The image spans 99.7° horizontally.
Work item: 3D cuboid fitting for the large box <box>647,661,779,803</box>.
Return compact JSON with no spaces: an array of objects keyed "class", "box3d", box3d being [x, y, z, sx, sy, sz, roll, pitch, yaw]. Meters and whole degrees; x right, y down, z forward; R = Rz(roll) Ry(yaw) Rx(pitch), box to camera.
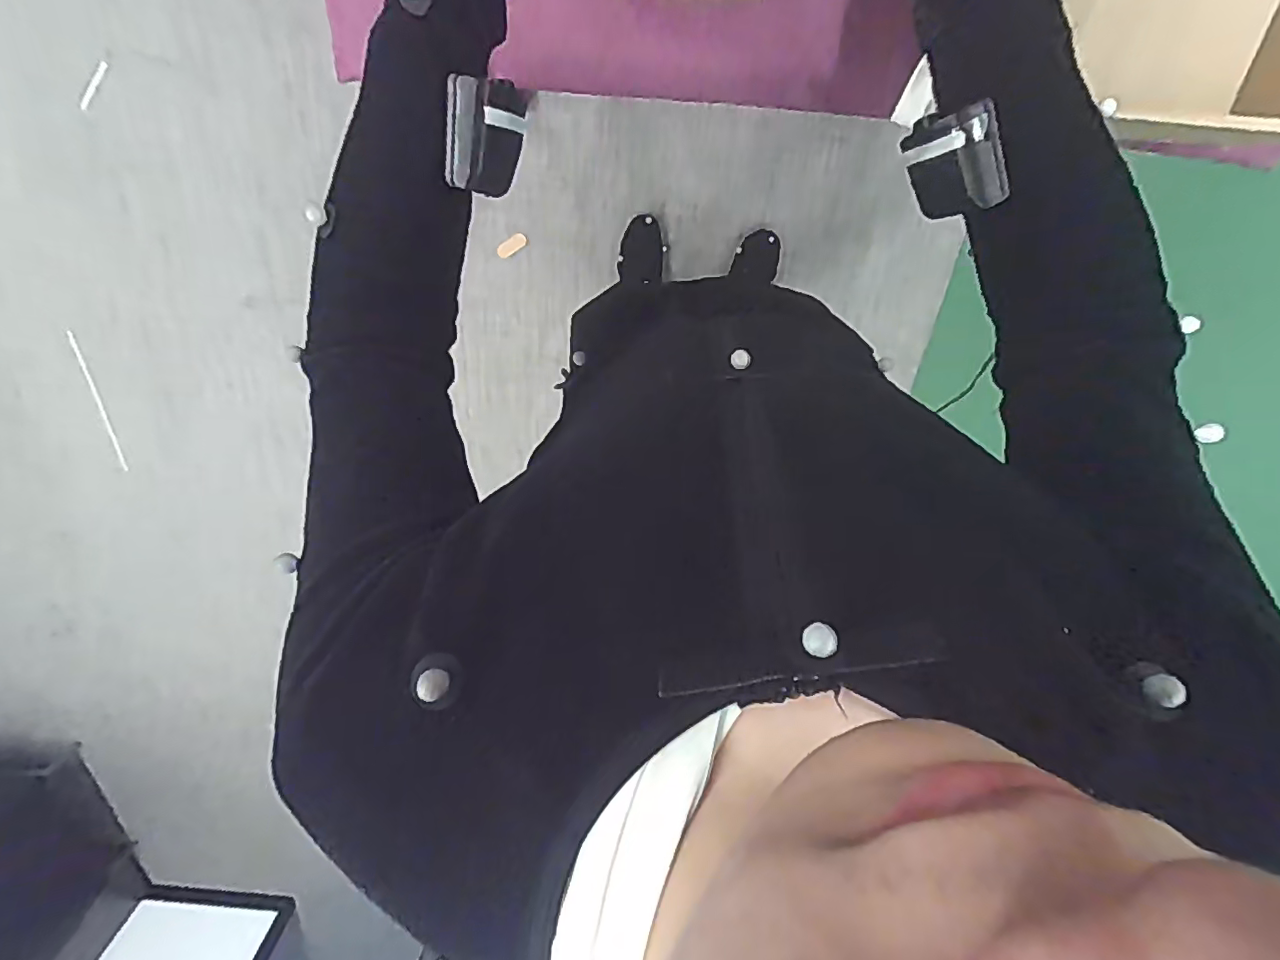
[{"class":"large box","box3d":[0.270,0.973,2.100,0.408,0.320,0.320,-24,115,13]}]
